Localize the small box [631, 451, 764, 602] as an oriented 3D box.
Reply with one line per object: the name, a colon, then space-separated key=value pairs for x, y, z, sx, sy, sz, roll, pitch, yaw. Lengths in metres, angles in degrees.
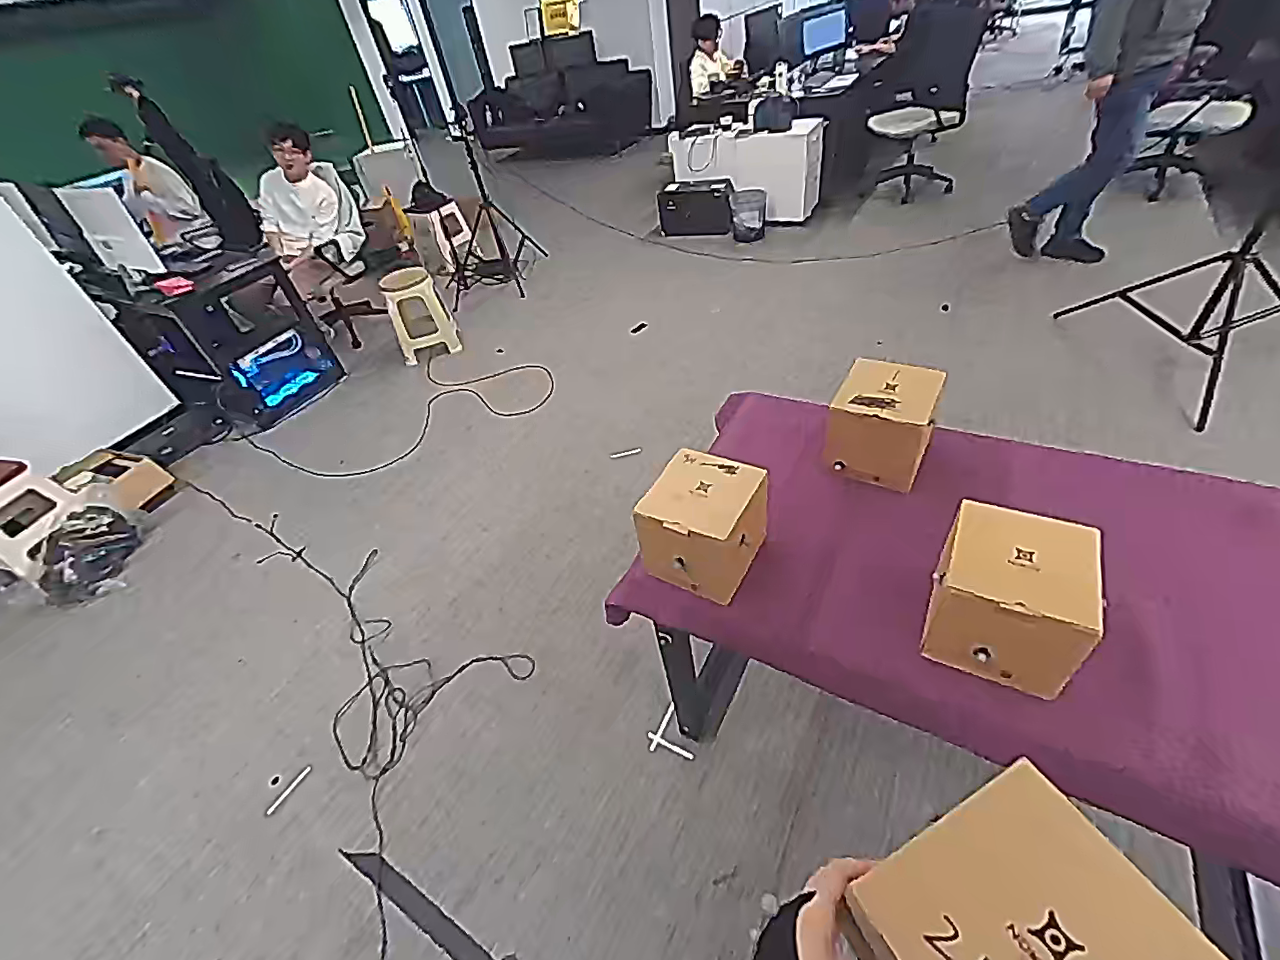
small box: x=0.109 y=0.081 z=0.942 sx=0.168 sy=0.176 sz=0.179 roll=18 pitch=50 yaw=27

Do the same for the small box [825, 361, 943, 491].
small box: x=0.471 y=-0.105 z=1.061 sx=0.168 sy=0.176 sz=0.179 roll=18 pitch=51 yaw=28

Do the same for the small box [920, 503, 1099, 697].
small box: x=0.512 y=0.166 z=0.765 sx=0.168 sy=0.176 sz=0.179 roll=15 pitch=48 yaw=26
